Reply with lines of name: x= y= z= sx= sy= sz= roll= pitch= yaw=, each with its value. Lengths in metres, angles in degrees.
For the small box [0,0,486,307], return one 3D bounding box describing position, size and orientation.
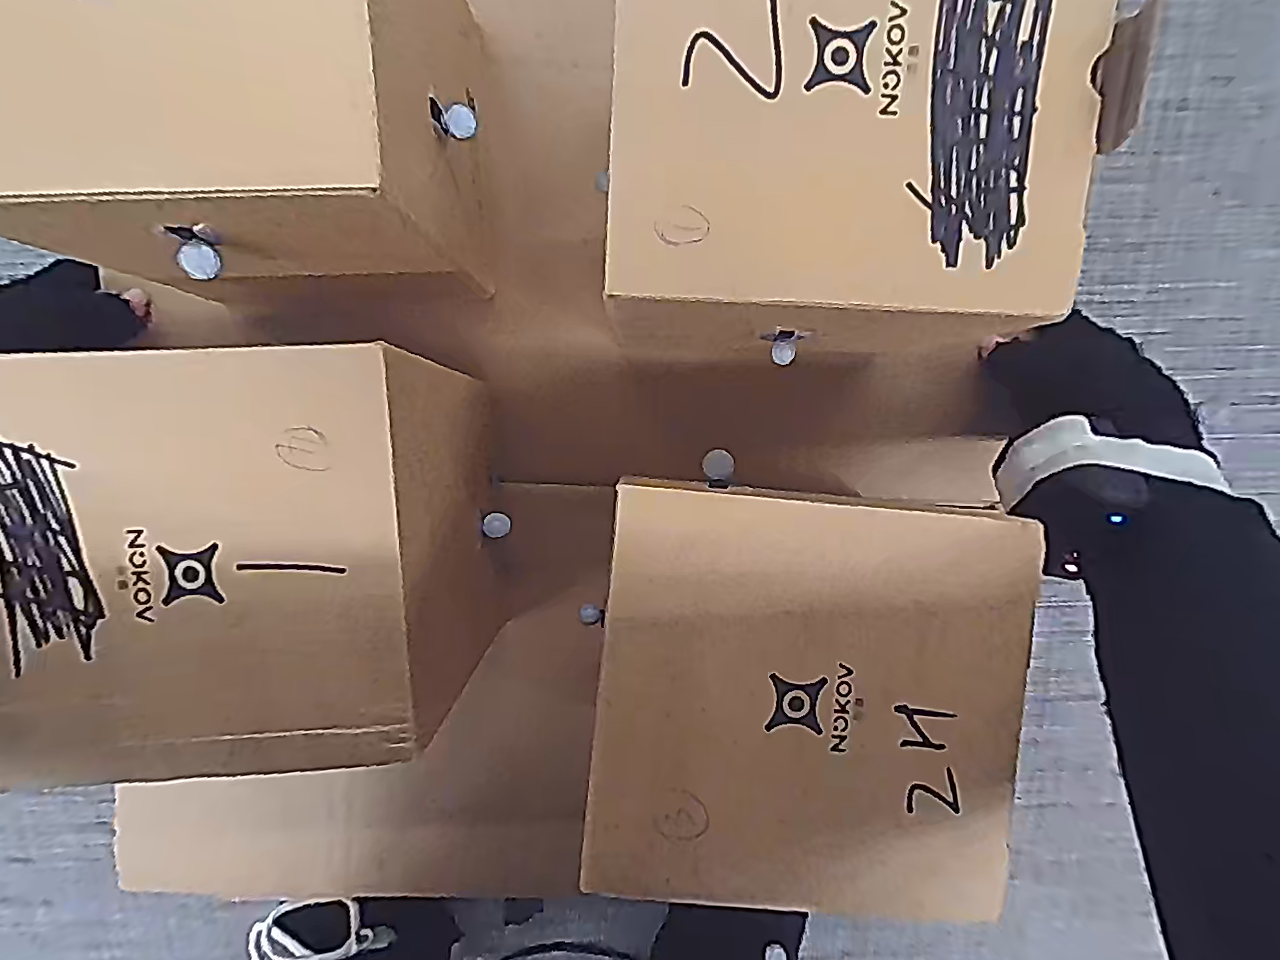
small box: x=-0.183 y=-0.187 z=0.268 sx=0.179 sy=0.176 sz=0.168 roll=-2 pitch=96 yaw=1
